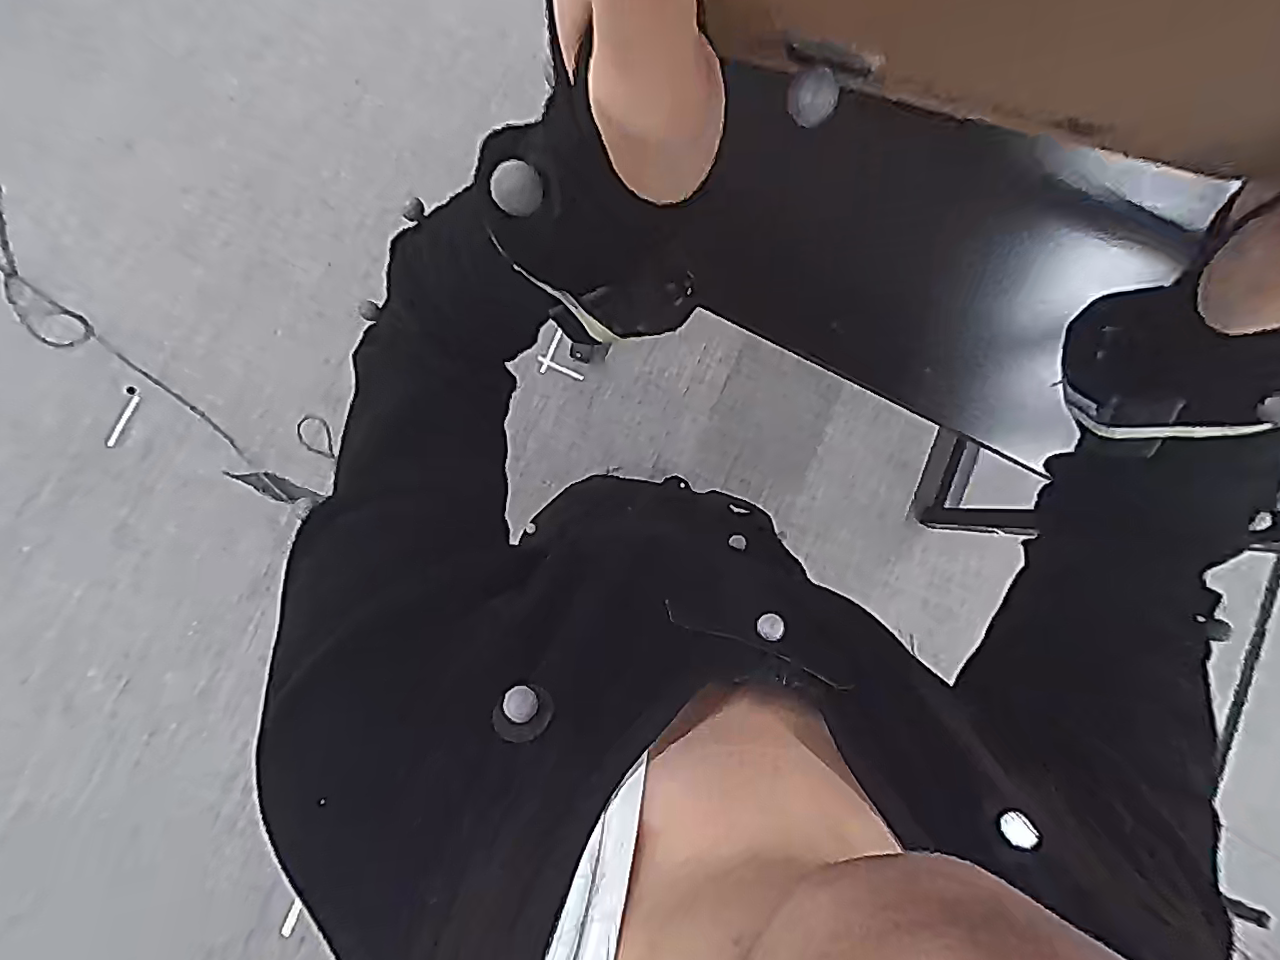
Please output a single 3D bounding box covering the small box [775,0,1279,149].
[{"bbox_3d":[0.109,-0.146,0.044,0.168,0.176,0.179,13,117,-1],"label":"small box"}]
